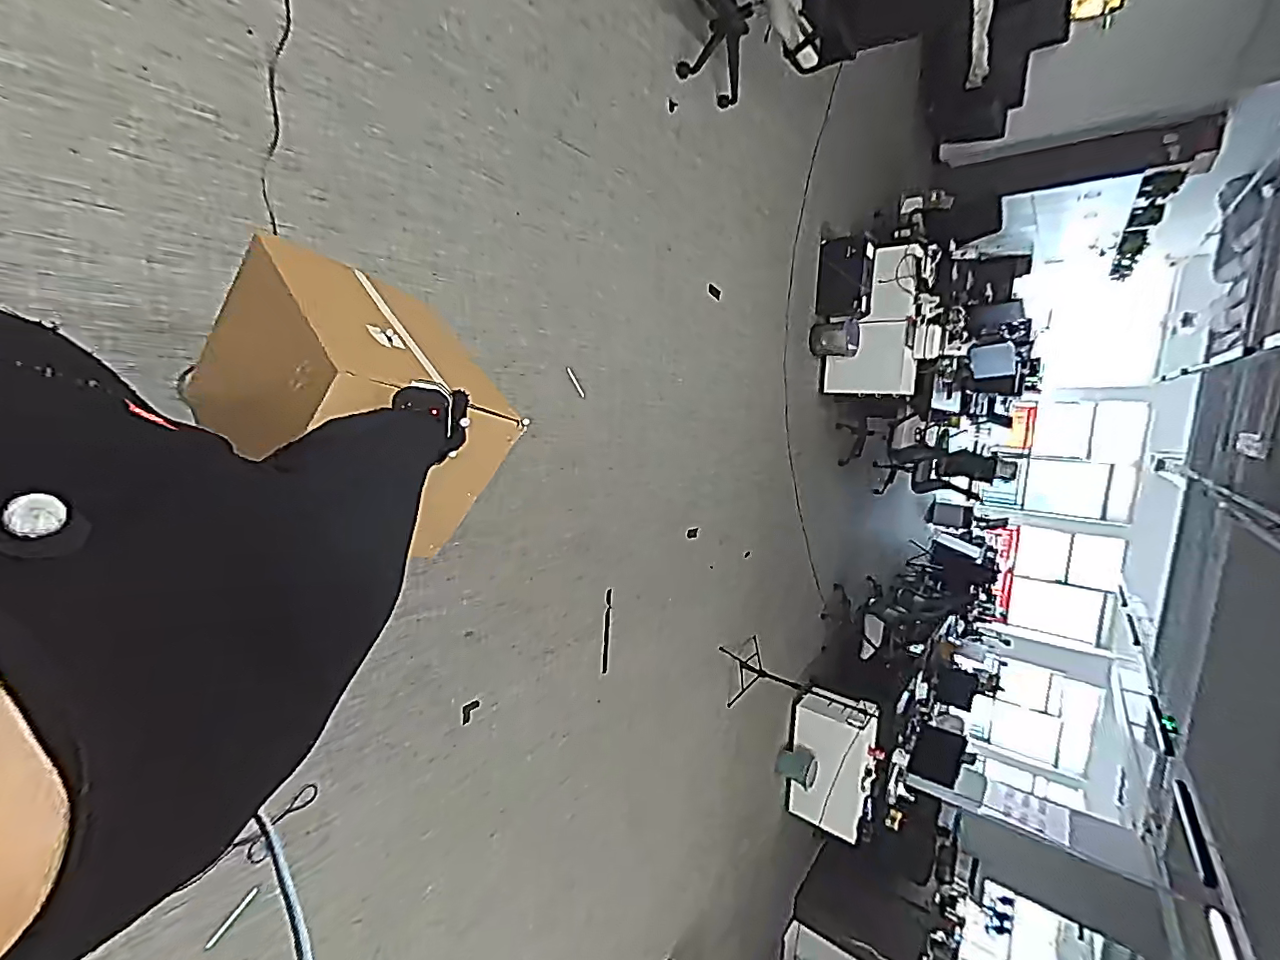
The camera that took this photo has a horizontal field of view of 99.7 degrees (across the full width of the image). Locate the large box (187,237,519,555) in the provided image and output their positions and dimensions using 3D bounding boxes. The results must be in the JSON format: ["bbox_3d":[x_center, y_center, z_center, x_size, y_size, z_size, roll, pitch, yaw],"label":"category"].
[{"bbox_3d":[-0.491,-0.122,0.919,0.320,0.408,0.320,-51,150,17],"label":"large box"}]
